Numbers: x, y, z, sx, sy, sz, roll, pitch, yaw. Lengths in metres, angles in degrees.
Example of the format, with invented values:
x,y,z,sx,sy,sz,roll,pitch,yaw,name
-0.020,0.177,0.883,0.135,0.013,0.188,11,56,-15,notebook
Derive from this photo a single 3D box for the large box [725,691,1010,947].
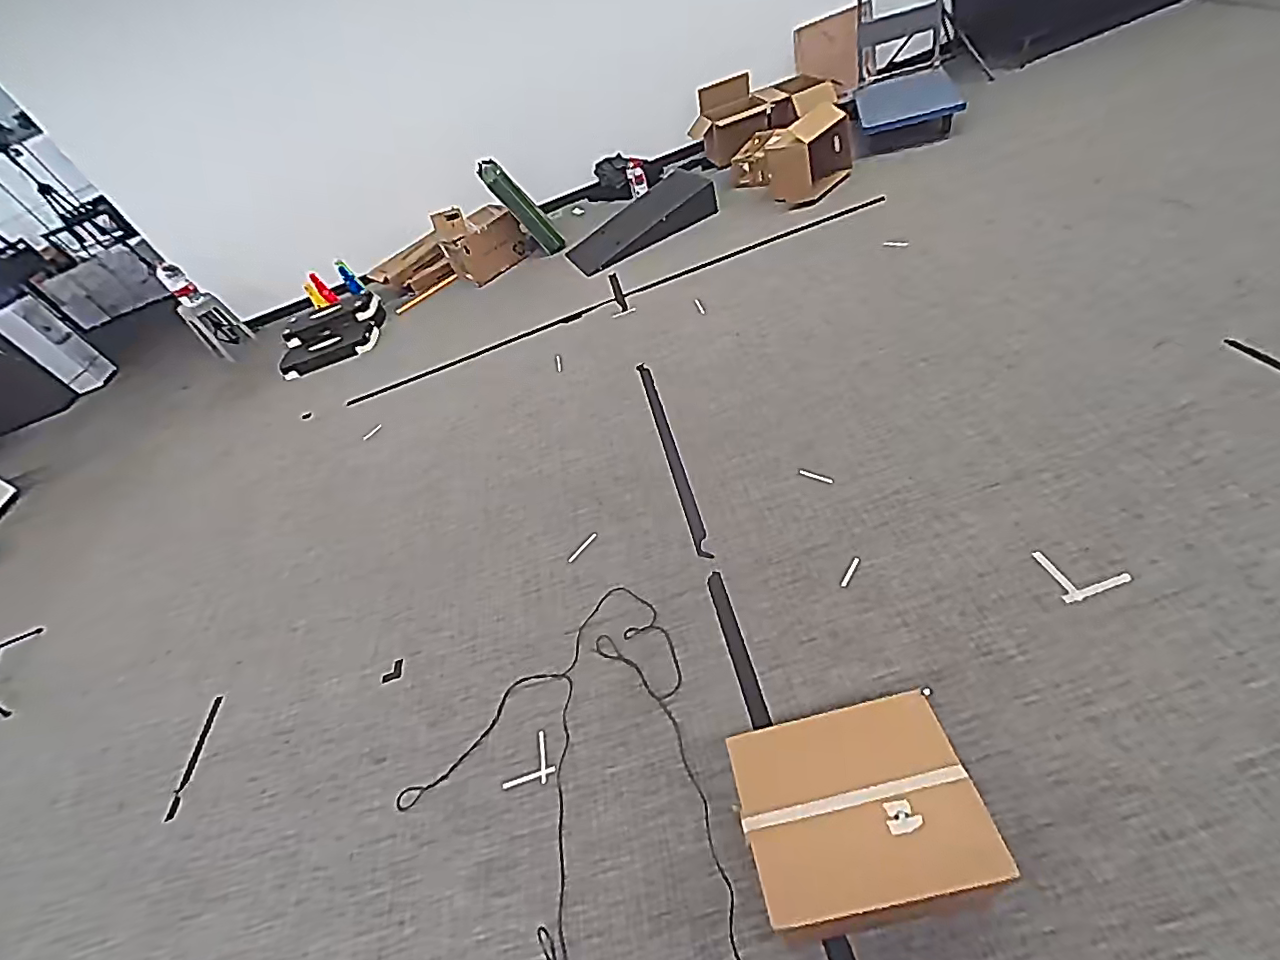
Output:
x,y,z,sx,sy,sz,roll,pitch,yaw,name
0.423,0.684,1.087,0.408,0.320,0.320,-17,44,5,large box
